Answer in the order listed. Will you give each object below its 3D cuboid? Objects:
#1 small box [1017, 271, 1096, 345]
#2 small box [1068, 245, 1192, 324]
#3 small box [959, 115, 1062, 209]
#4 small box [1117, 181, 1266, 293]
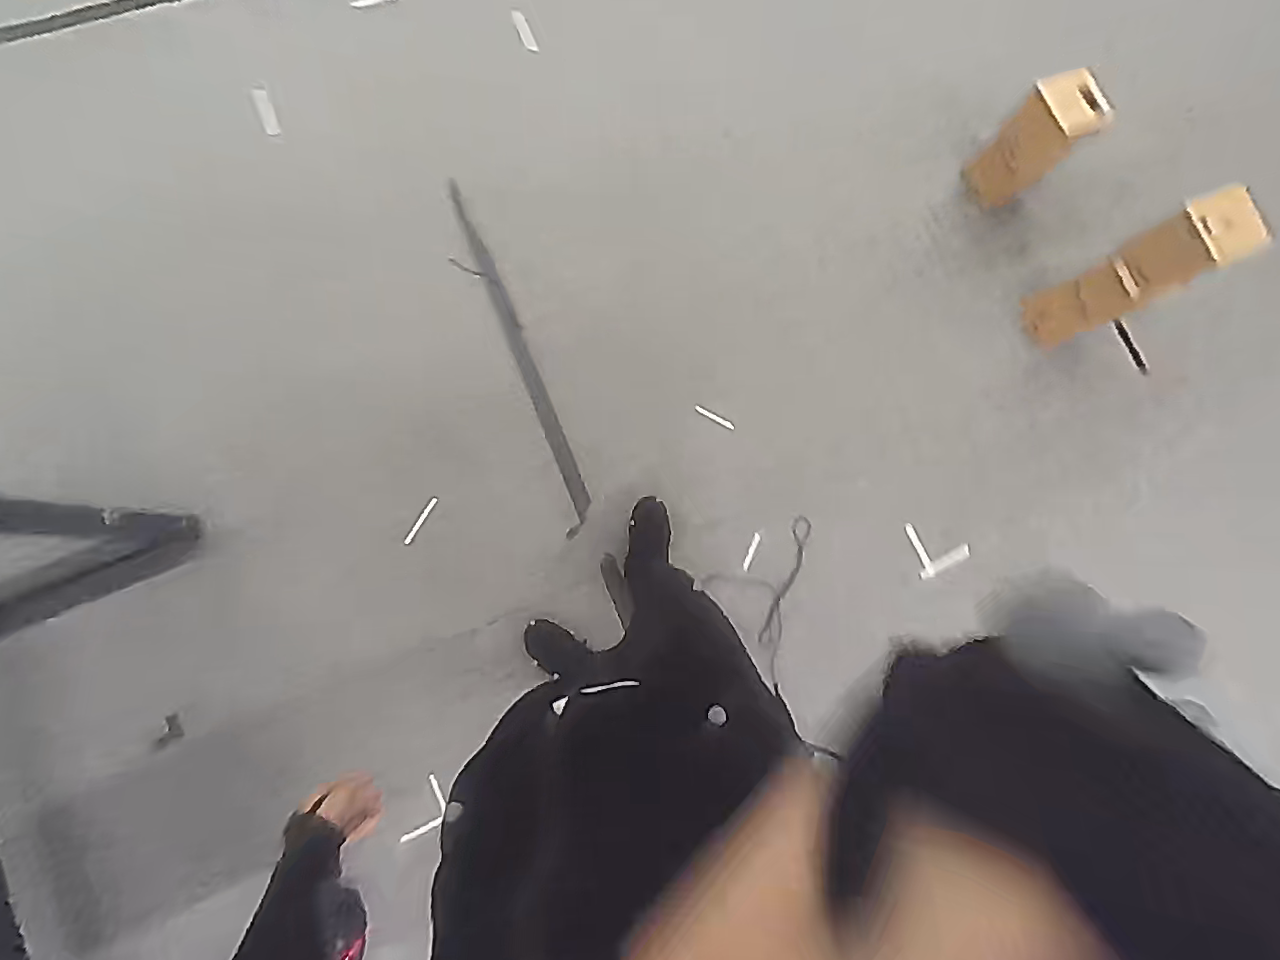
[{"bbox_3d":[1.326,-0.541,1.668,0.179,0.176,0.168,-21,84,-8],"label":"small box"},{"bbox_3d":[1.347,-0.560,1.506,0.179,0.176,0.168,-22,85,-9],"label":"small box"},{"bbox_3d":[1.171,-1.007,1.723,0.179,0.176,0.168,-25,84,-10],"label":"small box"},{"bbox_3d":[1.361,-0.598,1.346,0.179,0.176,0.168,-22,84,-10],"label":"small box"}]
